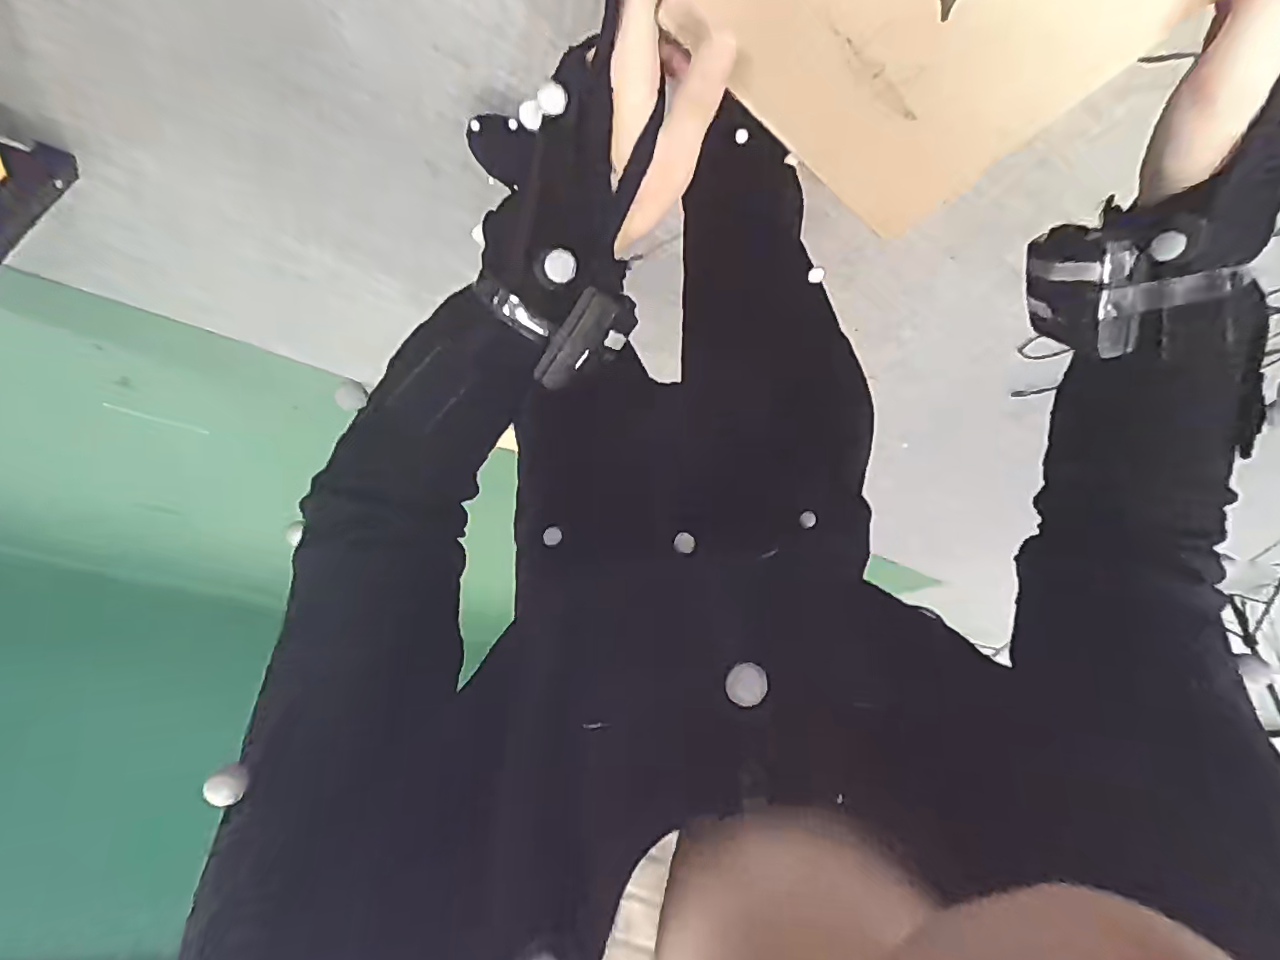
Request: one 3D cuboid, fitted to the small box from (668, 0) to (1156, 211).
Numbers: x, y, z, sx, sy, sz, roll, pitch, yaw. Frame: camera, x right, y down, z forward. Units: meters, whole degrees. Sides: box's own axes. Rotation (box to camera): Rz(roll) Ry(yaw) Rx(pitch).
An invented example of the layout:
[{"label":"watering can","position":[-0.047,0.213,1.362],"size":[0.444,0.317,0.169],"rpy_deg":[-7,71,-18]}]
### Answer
[{"label":"small box","position":[0.131,-0.281,0.248],"size":[0.168,0.176,0.179],"rpy_deg":[26,146,-26]}]
